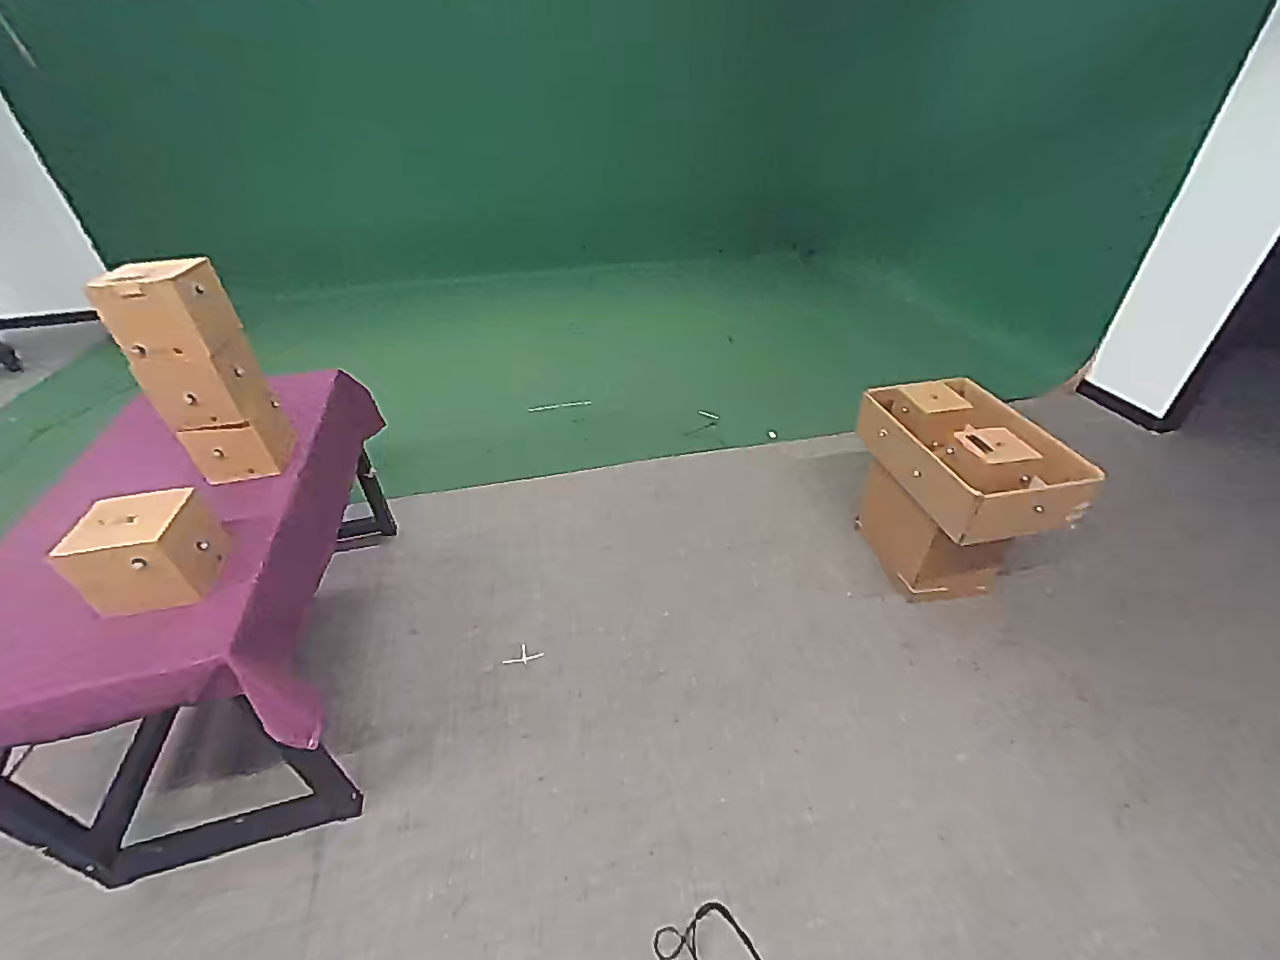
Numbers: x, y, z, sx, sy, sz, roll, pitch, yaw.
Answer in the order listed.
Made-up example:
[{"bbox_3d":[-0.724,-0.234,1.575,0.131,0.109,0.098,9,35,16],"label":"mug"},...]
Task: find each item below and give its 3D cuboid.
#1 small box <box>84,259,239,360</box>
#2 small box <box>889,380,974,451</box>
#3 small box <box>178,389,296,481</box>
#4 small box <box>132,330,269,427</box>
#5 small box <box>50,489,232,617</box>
[{"bbox_3d":[-1.035,-0.373,1.194,0.168,0.176,0.179,-8,37,-7],"label":"small box"},{"bbox_3d":[0.976,-0.218,1.831,0.168,0.176,0.179,-8,39,-5],"label":"small box"},{"bbox_3d":[-1.023,-0.111,1.393,0.168,0.176,0.179,-10,38,-9],"label":"small box"},{"bbox_3d":[-1.028,-0.237,1.288,0.168,0.176,0.179,-8,38,-7],"label":"small box"},{"bbox_3d":[-0.950,0.142,1.056,0.179,0.176,0.168,-10,37,-8],"label":"small box"}]
